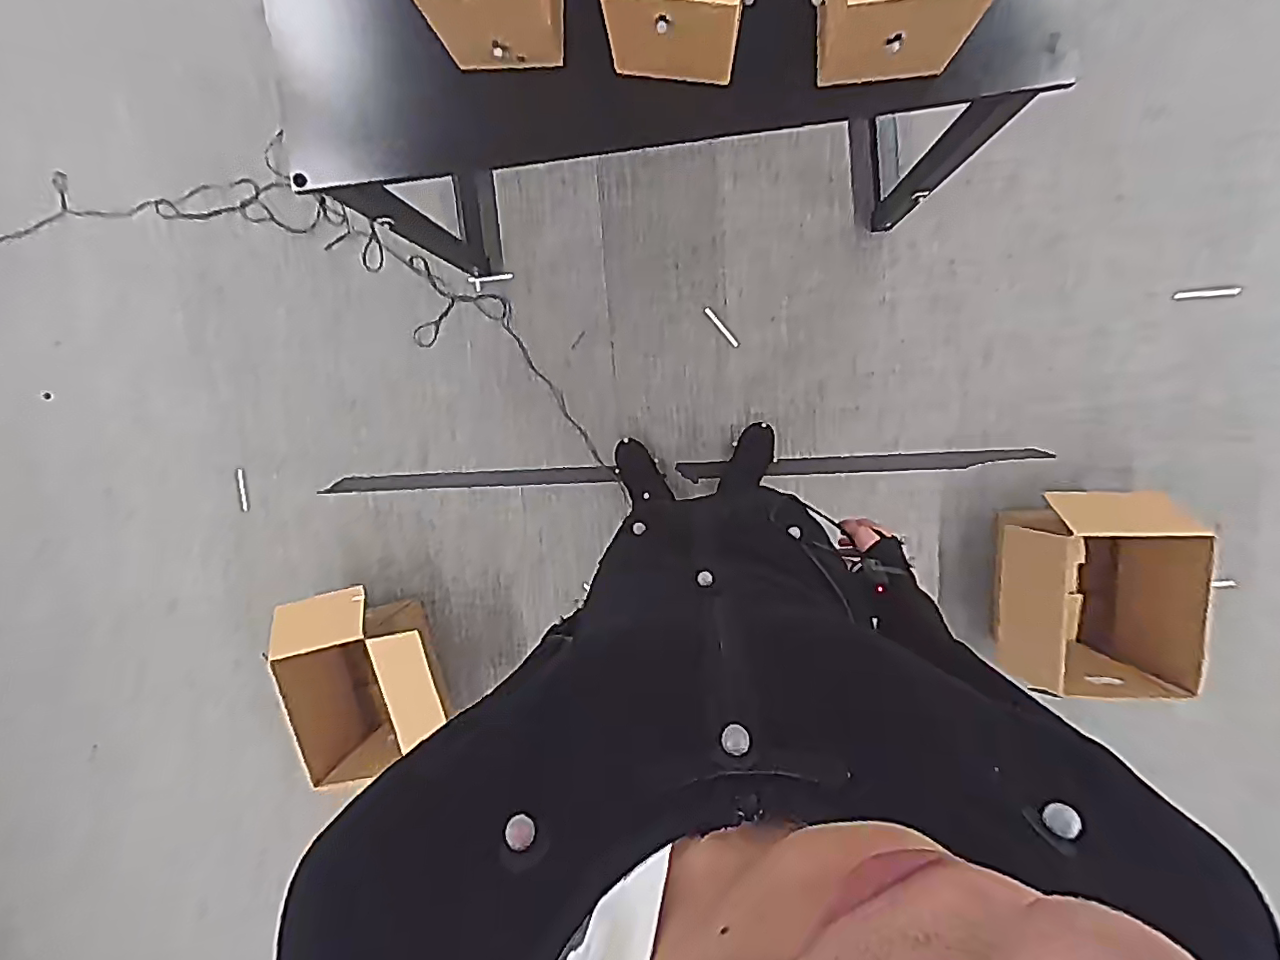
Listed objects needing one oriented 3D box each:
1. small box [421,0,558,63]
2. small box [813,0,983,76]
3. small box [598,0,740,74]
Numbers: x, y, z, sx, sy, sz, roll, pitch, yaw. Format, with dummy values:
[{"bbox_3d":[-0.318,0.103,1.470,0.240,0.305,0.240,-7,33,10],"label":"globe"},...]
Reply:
[{"bbox_3d":[-0.211,-0.714,0.734,0.168,0.176,0.179,2,99,6],"label":"small box"},{"bbox_3d":[0.328,-0.656,0.687,0.179,0.176,0.168,-2,97,8],"label":"small box"},{"bbox_3d":[0.049,-0.678,0.715,0.179,0.176,0.168,10,98,5],"label":"small box"}]
